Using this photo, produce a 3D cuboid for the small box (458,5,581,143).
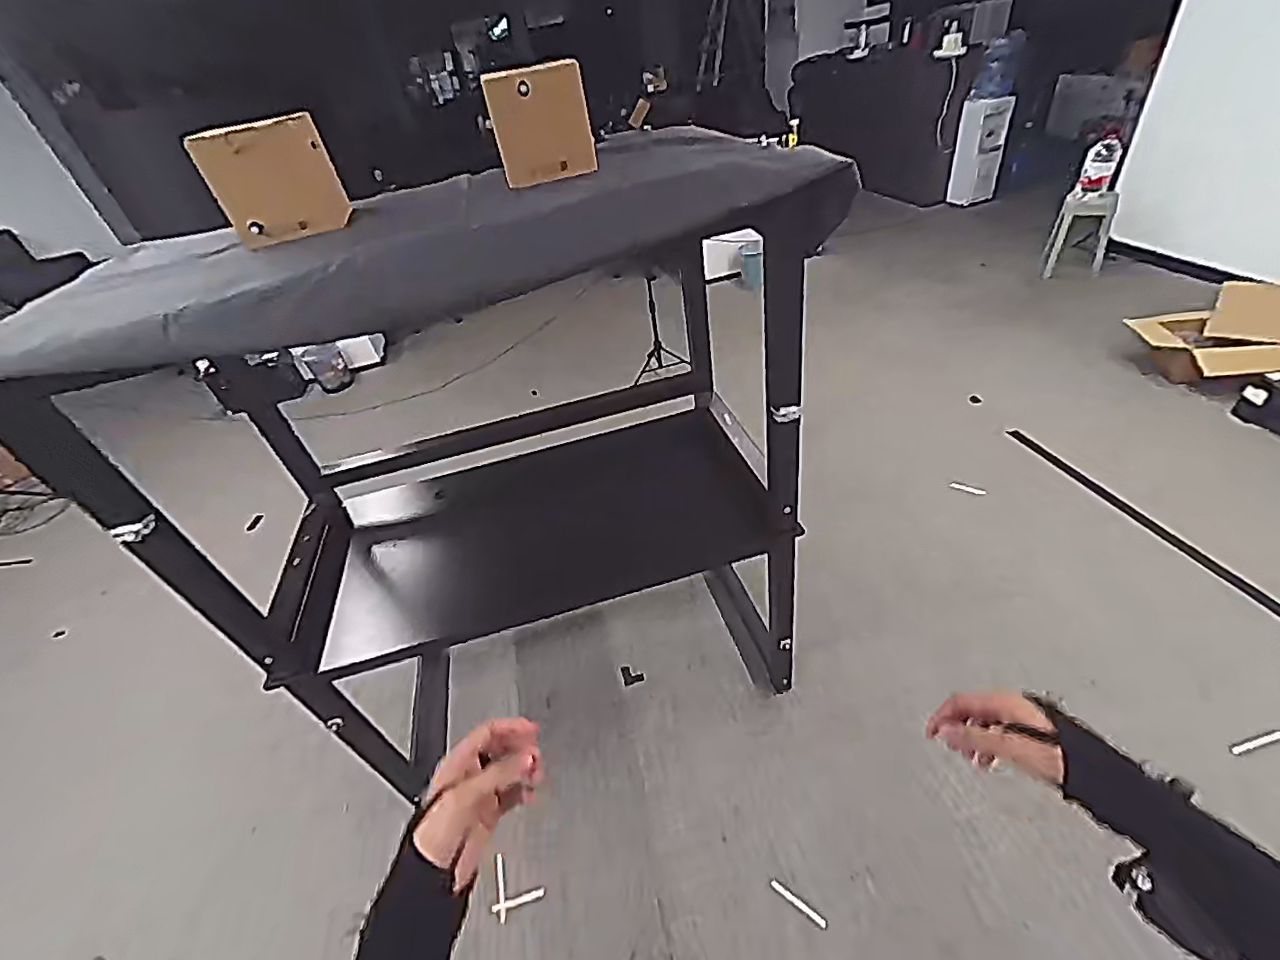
[{"bbox_3d":[-0.211,-0.713,0.960,0.168,0.176,0.179,-16,39,-5],"label":"small box"}]
